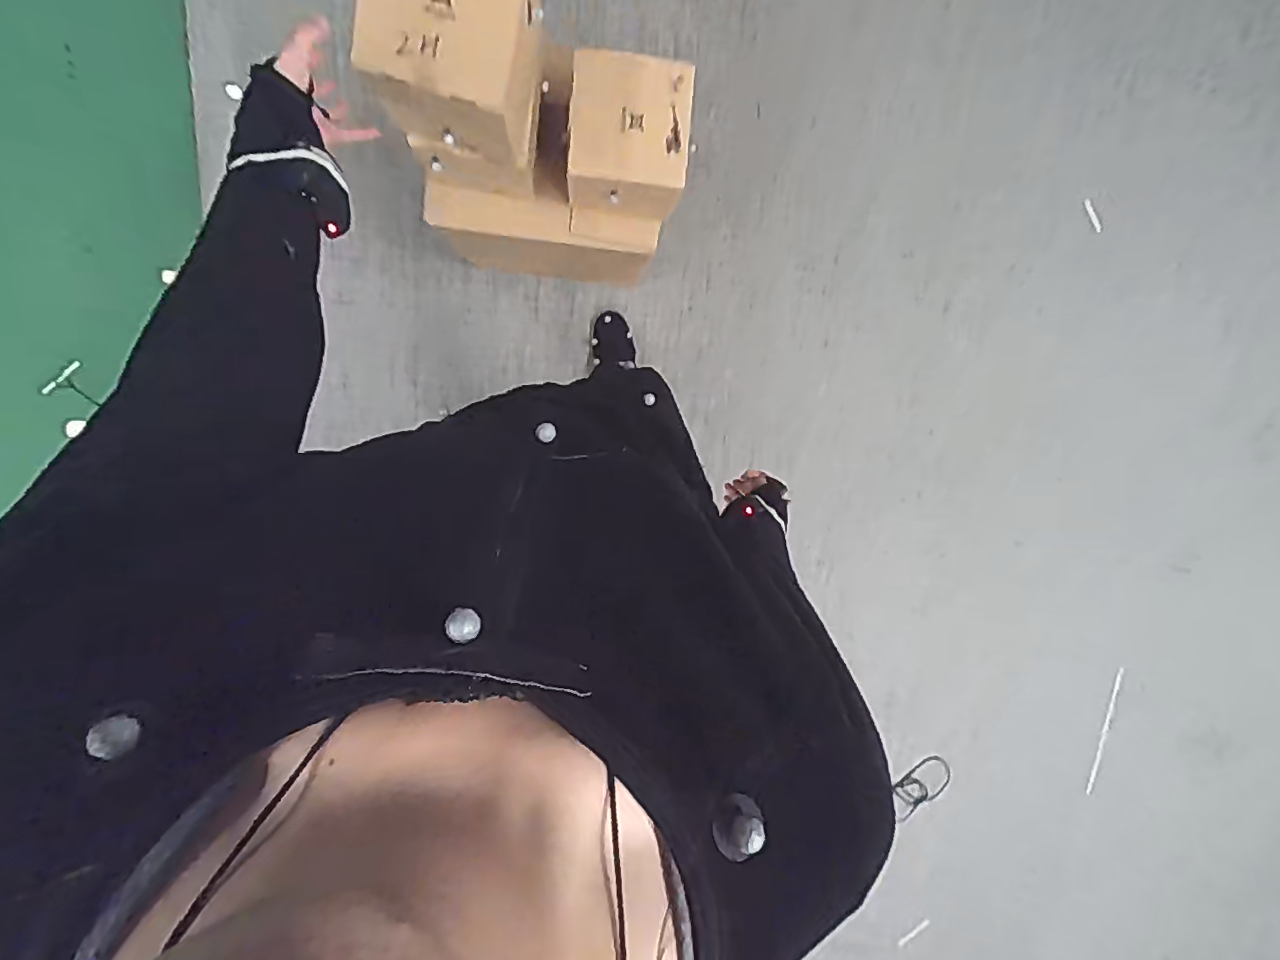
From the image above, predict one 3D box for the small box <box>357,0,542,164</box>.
[{"bbox_3d":[-0.219,-0.529,0.665,0.168,0.176,0.179,13,101,-8],"label":"small box"}]
